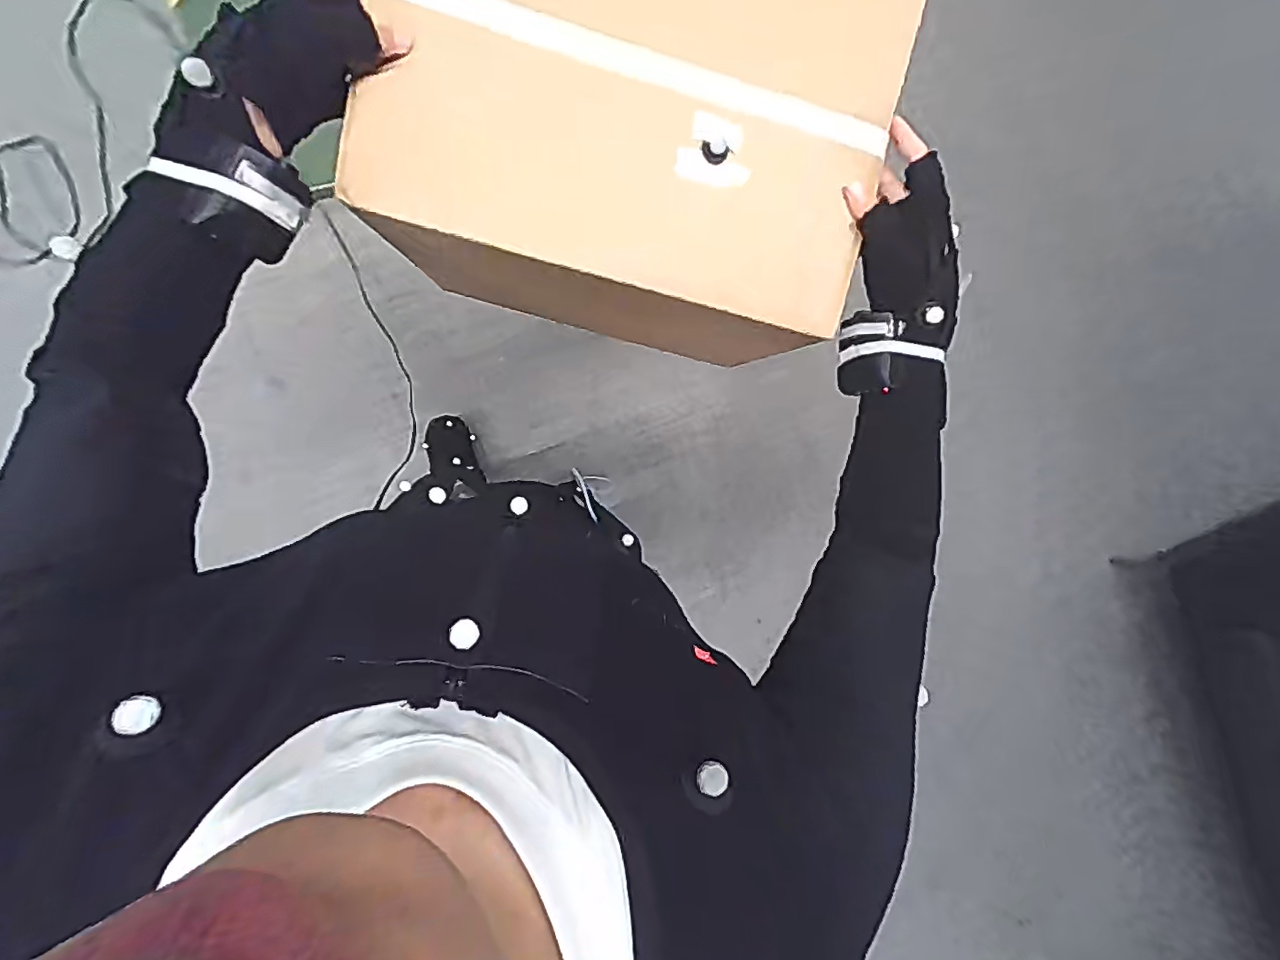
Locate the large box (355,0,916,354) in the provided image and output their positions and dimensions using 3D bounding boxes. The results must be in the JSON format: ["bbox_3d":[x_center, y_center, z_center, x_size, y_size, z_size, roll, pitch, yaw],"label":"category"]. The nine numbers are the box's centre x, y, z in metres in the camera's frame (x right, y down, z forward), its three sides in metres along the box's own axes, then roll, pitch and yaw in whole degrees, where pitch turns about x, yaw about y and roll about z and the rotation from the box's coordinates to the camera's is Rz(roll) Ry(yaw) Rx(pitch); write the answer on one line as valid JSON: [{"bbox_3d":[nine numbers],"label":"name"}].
[{"bbox_3d":[-0.012,-0.341,0.564,0.408,0.320,0.320,12,96,-9],"label":"large box"}]
